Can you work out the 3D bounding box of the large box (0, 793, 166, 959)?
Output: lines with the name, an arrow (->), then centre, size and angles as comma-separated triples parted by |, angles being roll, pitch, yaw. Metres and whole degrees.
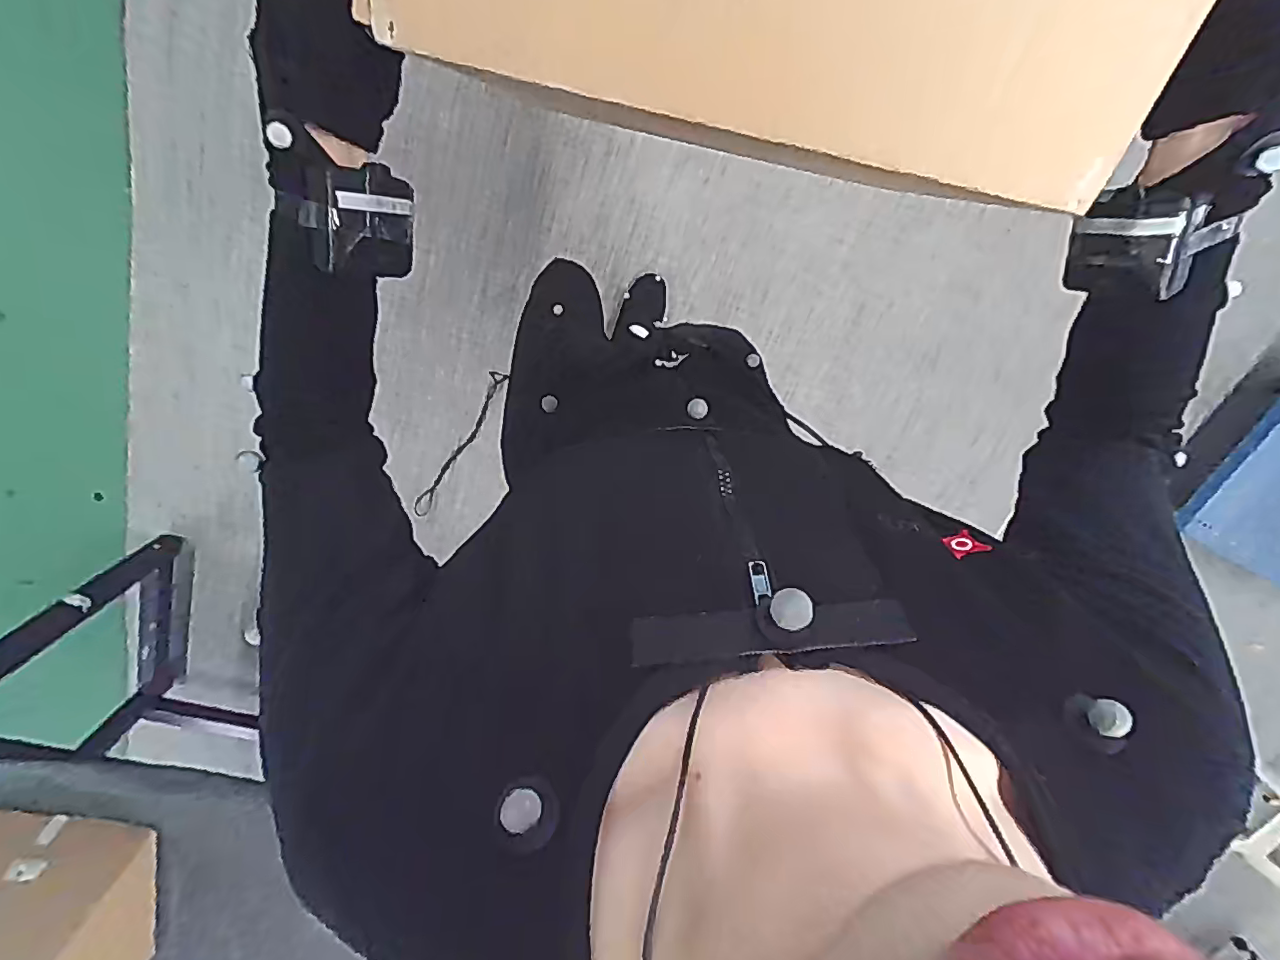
large box -> -1.066, 0.801, 0.899 | 0.320, 0.320, 0.408 | 16, 112, -10
